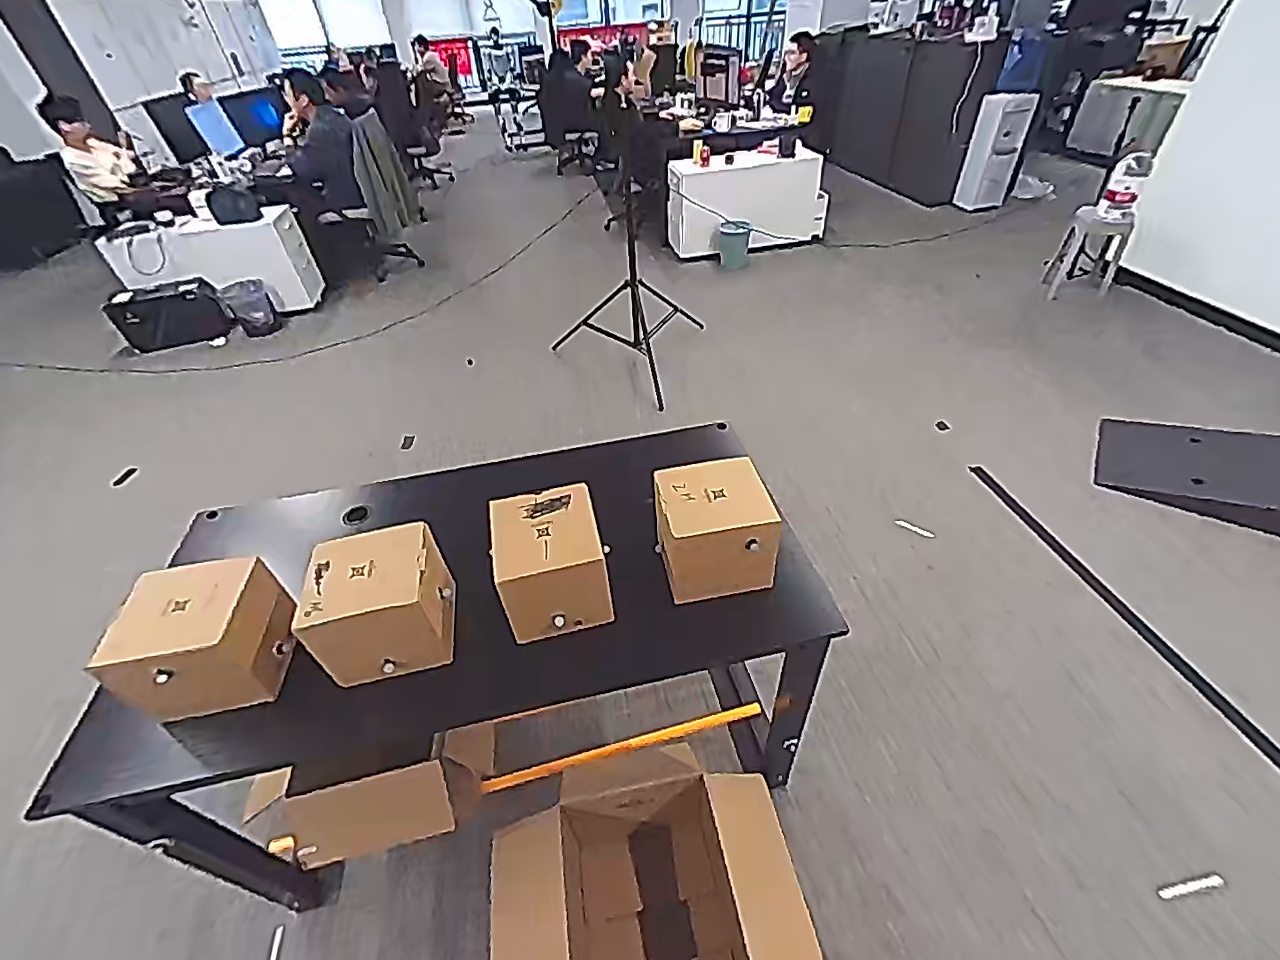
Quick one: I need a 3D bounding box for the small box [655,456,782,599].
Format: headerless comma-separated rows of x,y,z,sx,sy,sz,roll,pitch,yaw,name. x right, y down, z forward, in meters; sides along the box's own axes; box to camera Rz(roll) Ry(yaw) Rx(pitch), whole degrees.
0.127,0.083,0.937,0.179,0.176,0.168,-9,41,-5,small box

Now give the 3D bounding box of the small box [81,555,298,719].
-0.665,0.244,0.832,0.179,0.176,0.168,-9,43,-7,small box

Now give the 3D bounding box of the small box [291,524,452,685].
-0.407,0.198,0.860,0.179,0.176,0.168,-11,42,-8,small box

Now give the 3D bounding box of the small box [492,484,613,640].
-0.146,0.136,0.905,0.168,0.176,0.179,-12,43,-8,small box
